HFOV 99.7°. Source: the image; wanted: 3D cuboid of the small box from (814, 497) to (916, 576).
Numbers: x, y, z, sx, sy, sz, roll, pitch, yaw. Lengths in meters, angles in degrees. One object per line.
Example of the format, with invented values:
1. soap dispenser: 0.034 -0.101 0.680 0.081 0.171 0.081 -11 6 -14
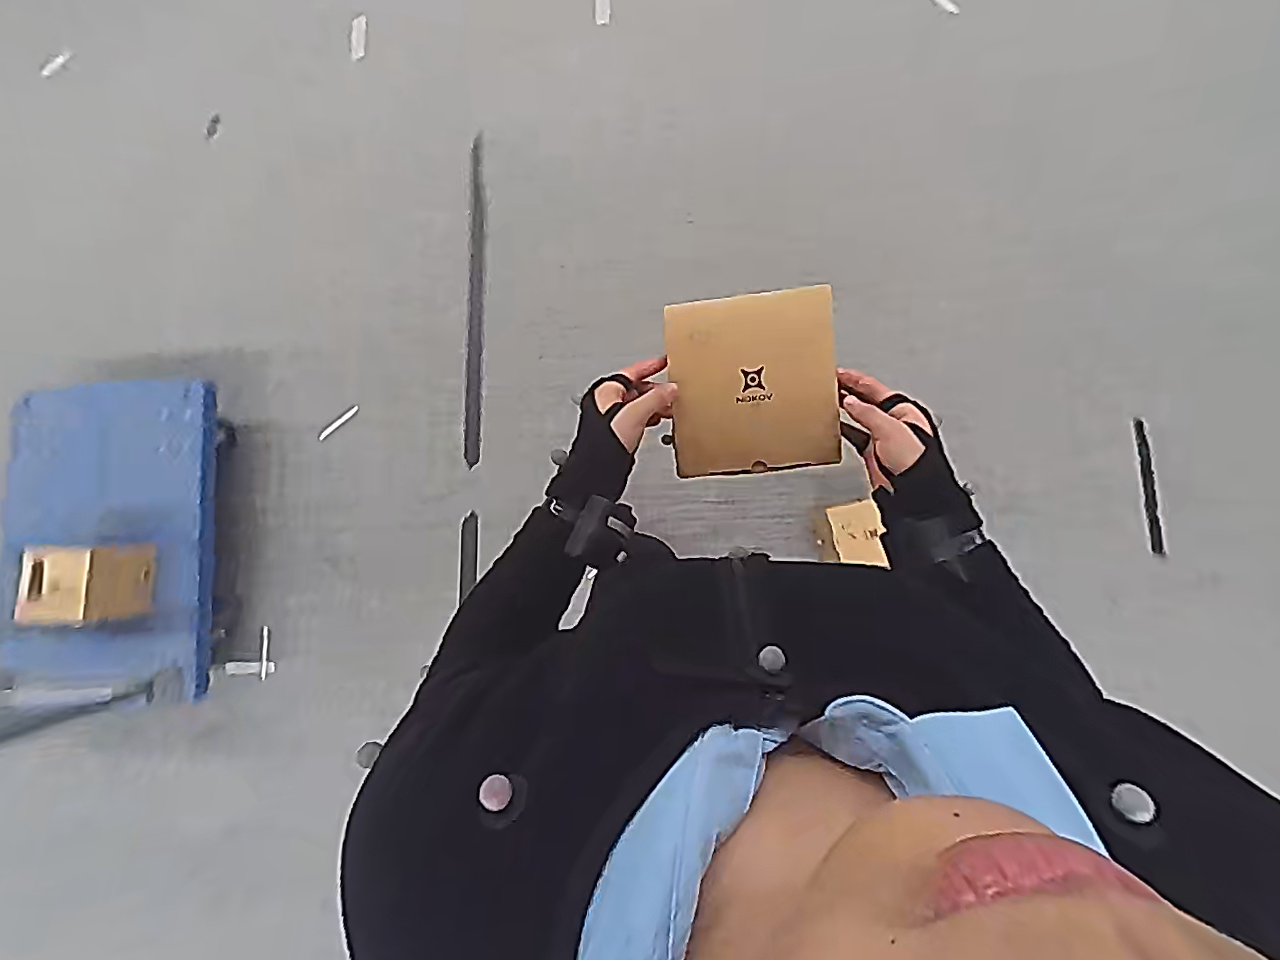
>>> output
1. small box: 0.569 0.143 1.389 0.179 0.176 0.168 -13 82 3
